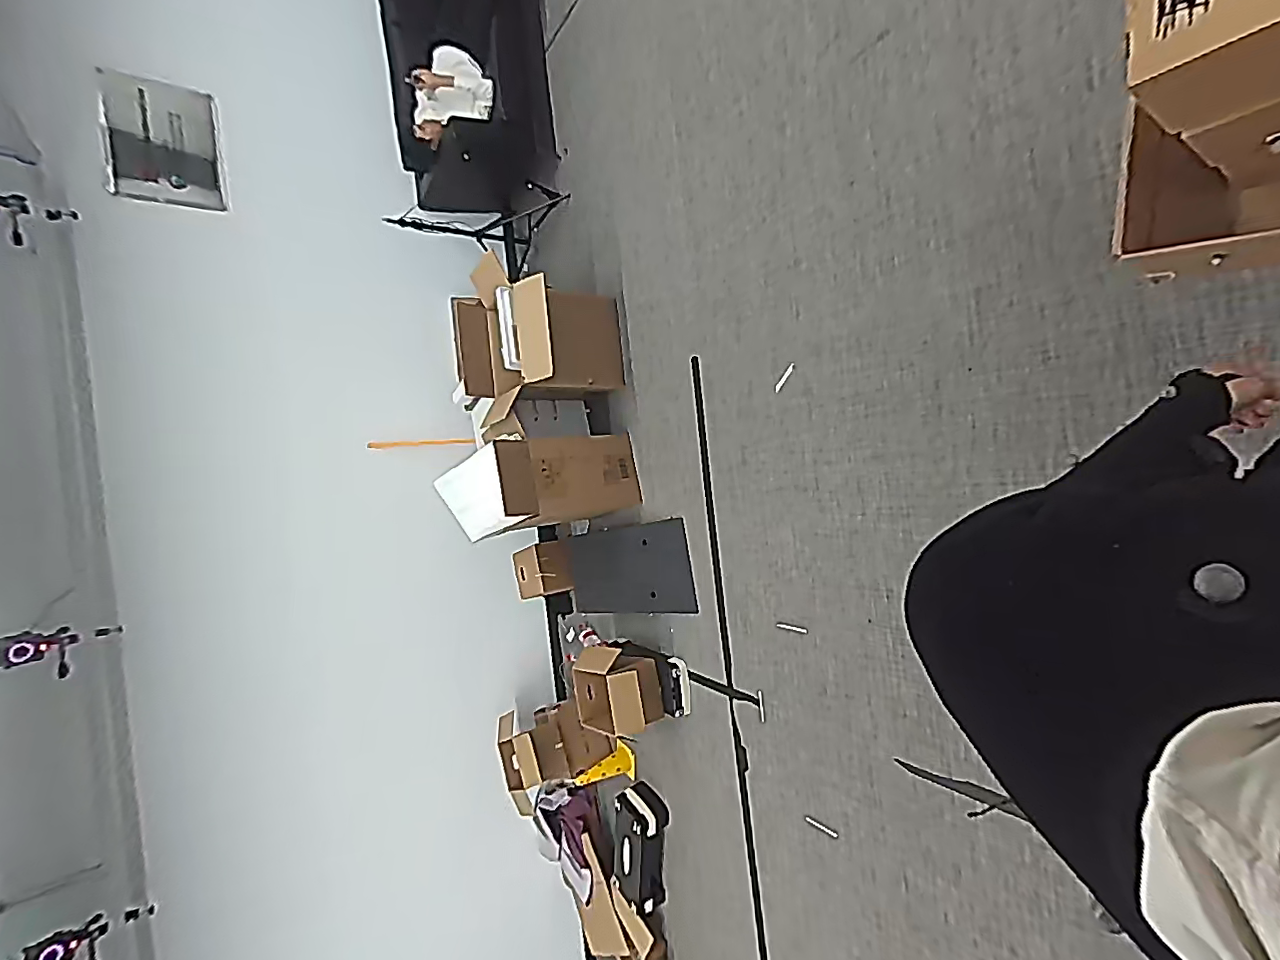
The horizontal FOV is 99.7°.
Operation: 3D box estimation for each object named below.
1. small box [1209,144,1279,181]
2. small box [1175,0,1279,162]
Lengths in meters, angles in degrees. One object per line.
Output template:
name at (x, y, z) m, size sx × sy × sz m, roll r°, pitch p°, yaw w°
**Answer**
small box at (0.901, -0.523, 0.714) m, size 0.179 × 0.176 × 0.168 m, roll 5°, pitch 100°, yaw 55°
small box at (0.760, -0.511, 0.630) m, size 0.168 × 0.176 × 0.179 m, roll 1°, pitch 96°, yaw 58°
